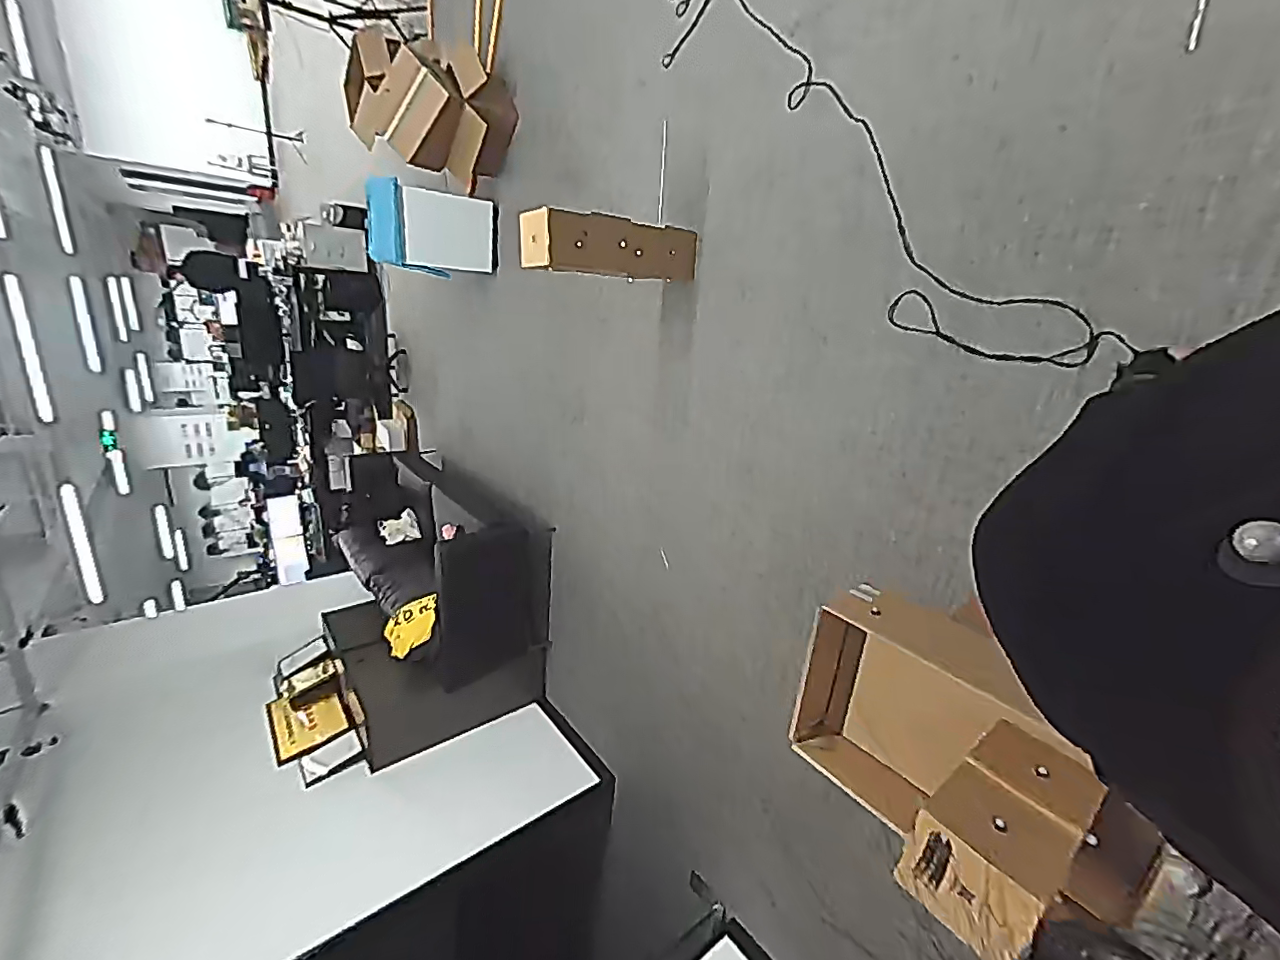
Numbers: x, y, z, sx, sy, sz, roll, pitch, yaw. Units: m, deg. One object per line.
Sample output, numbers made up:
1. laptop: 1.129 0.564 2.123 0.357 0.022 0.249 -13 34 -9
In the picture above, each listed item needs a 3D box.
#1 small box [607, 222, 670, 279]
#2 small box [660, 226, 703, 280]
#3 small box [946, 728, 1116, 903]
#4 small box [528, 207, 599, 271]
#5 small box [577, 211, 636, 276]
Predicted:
1. small box: -0.007 -0.834 1.979 0.168 0.176 0.179 23 116 47
2. small box: 0.123 -0.866 2.074 0.168 0.176 0.179 23 115 48
3. small box: 0.684 0.568 0.950 0.179 0.176 0.168 27 119 46
4. small box: -0.252 -0.781 1.770 0.179 0.176 0.168 19 114 47
5. small box: -0.126 -0.811 1.868 0.168 0.176 0.179 21 114 49
